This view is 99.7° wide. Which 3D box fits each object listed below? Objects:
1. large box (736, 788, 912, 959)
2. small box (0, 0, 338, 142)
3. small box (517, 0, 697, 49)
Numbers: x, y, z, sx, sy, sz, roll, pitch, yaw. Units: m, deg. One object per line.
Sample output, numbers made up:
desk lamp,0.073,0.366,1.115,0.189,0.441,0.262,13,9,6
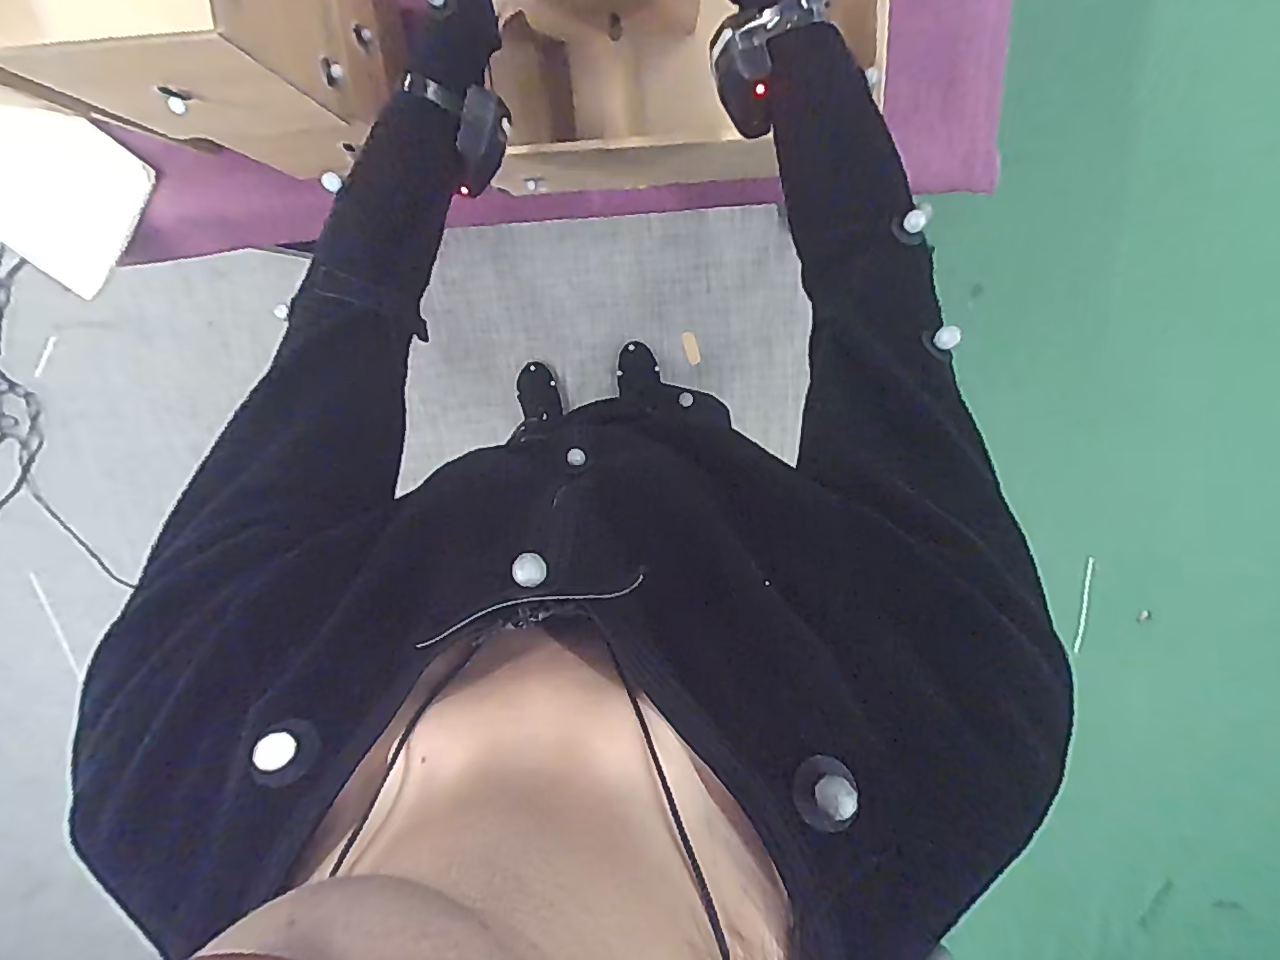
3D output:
large box,0.557,1.251,1.698,0.408,0.320,0.320,-18,105,5
small box,-0.364,-0.385,0.419,0.179,0.176,0.168,-4,104,1
small box,-0.032,-0.525,0.487,0.179,0.176,0.168,-2,106,2
